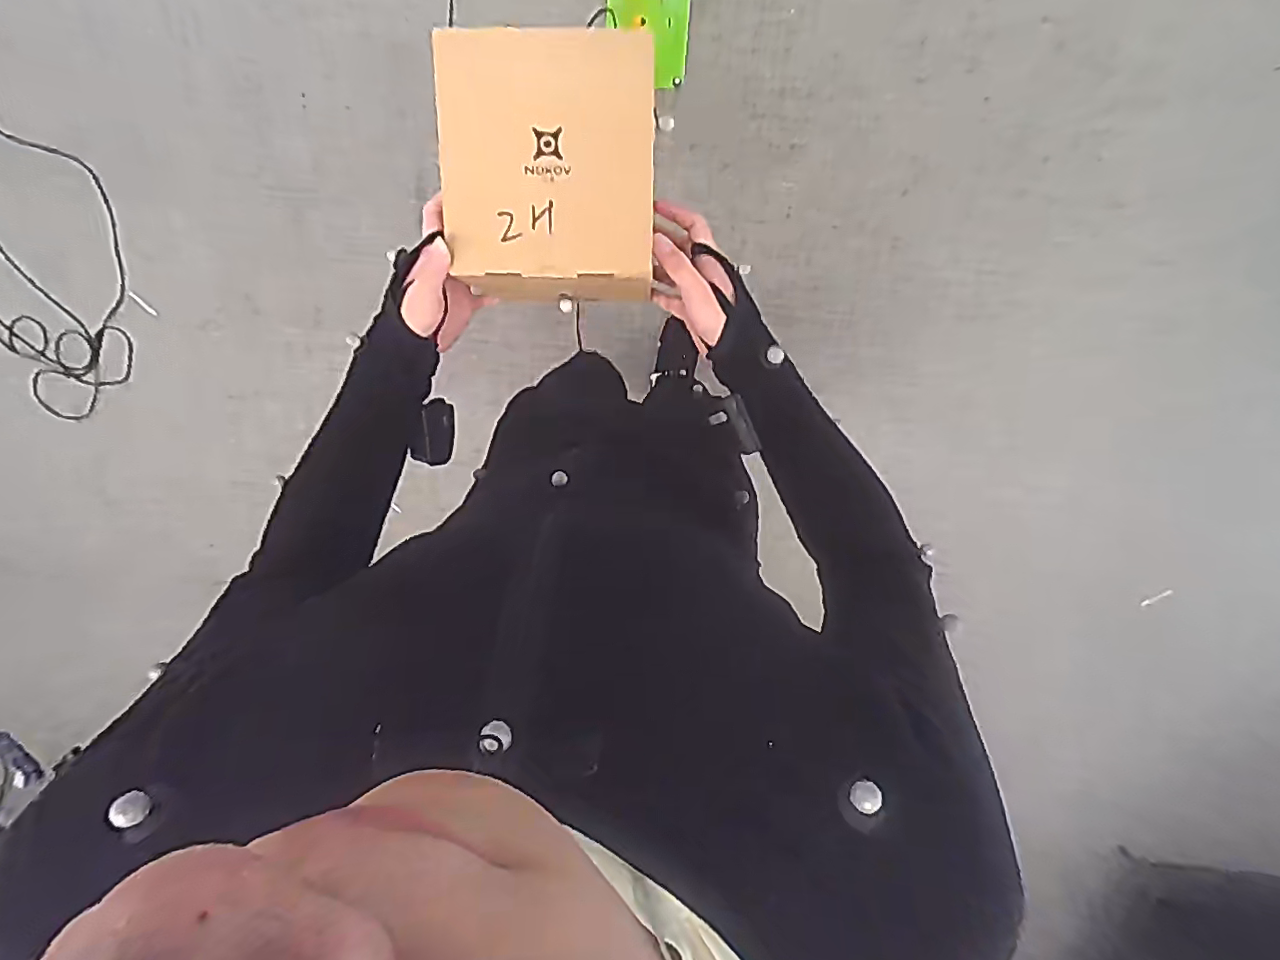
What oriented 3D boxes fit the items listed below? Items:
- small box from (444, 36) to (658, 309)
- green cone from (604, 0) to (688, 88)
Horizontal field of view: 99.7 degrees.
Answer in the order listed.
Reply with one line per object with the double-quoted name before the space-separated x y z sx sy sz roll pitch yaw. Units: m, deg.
"small box" -0.071 -0.263 0.503 0.168 0.176 0.179 1 101 0
"green cone" -0.003 -1.021 1.146 0.202 0.368 0.200 6 107 3
